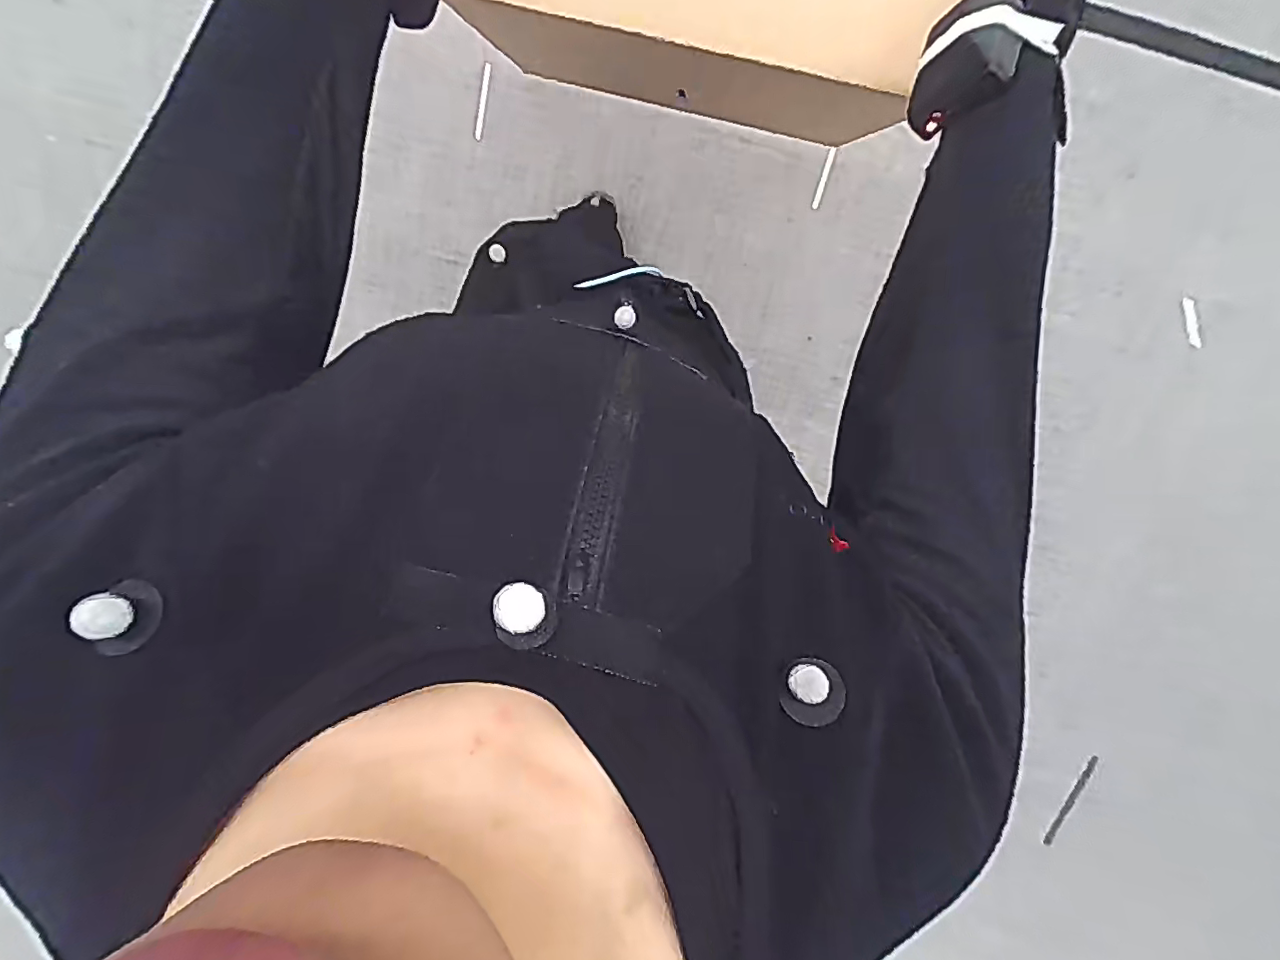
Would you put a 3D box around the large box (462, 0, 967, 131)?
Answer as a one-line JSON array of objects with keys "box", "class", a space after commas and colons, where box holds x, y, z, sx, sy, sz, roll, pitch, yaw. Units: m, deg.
[{"box": [0.074, -0.537, 0.472, 0.408, 0.320, 0.320, 13, 116, -2], "class": "large box"}]
